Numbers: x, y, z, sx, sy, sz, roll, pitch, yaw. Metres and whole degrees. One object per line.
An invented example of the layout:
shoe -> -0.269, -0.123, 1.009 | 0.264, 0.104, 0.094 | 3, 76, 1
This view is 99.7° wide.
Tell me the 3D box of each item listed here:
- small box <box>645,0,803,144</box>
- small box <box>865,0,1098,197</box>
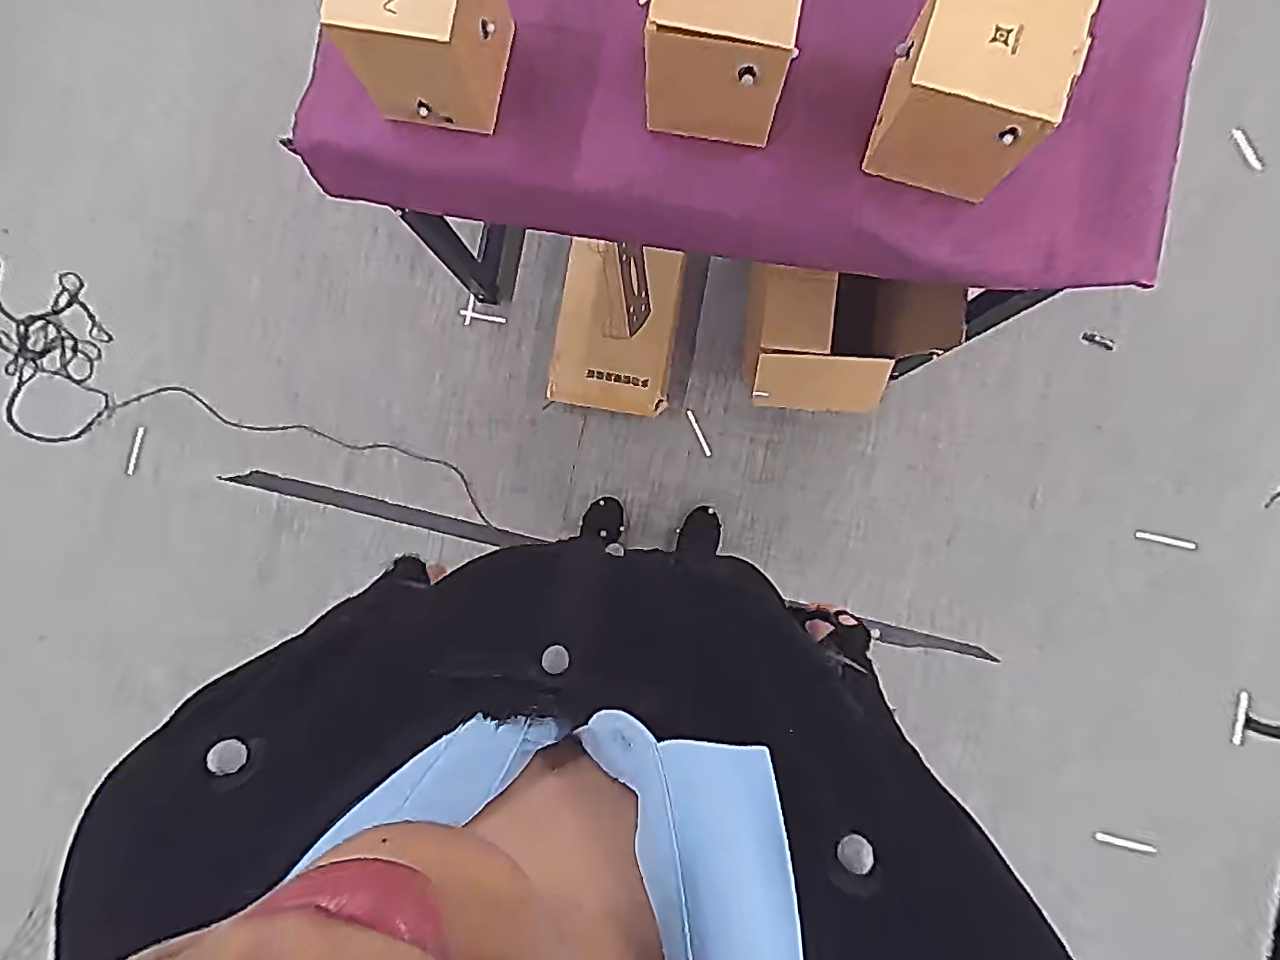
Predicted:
small box -> 0.108, -0.577, 0.705 | 0.179, 0.176, 0.168 | 10, 86, 3
small box -> 0.416, -0.496, 0.690 | 0.179, 0.176, 0.168 | 17, 88, 3
